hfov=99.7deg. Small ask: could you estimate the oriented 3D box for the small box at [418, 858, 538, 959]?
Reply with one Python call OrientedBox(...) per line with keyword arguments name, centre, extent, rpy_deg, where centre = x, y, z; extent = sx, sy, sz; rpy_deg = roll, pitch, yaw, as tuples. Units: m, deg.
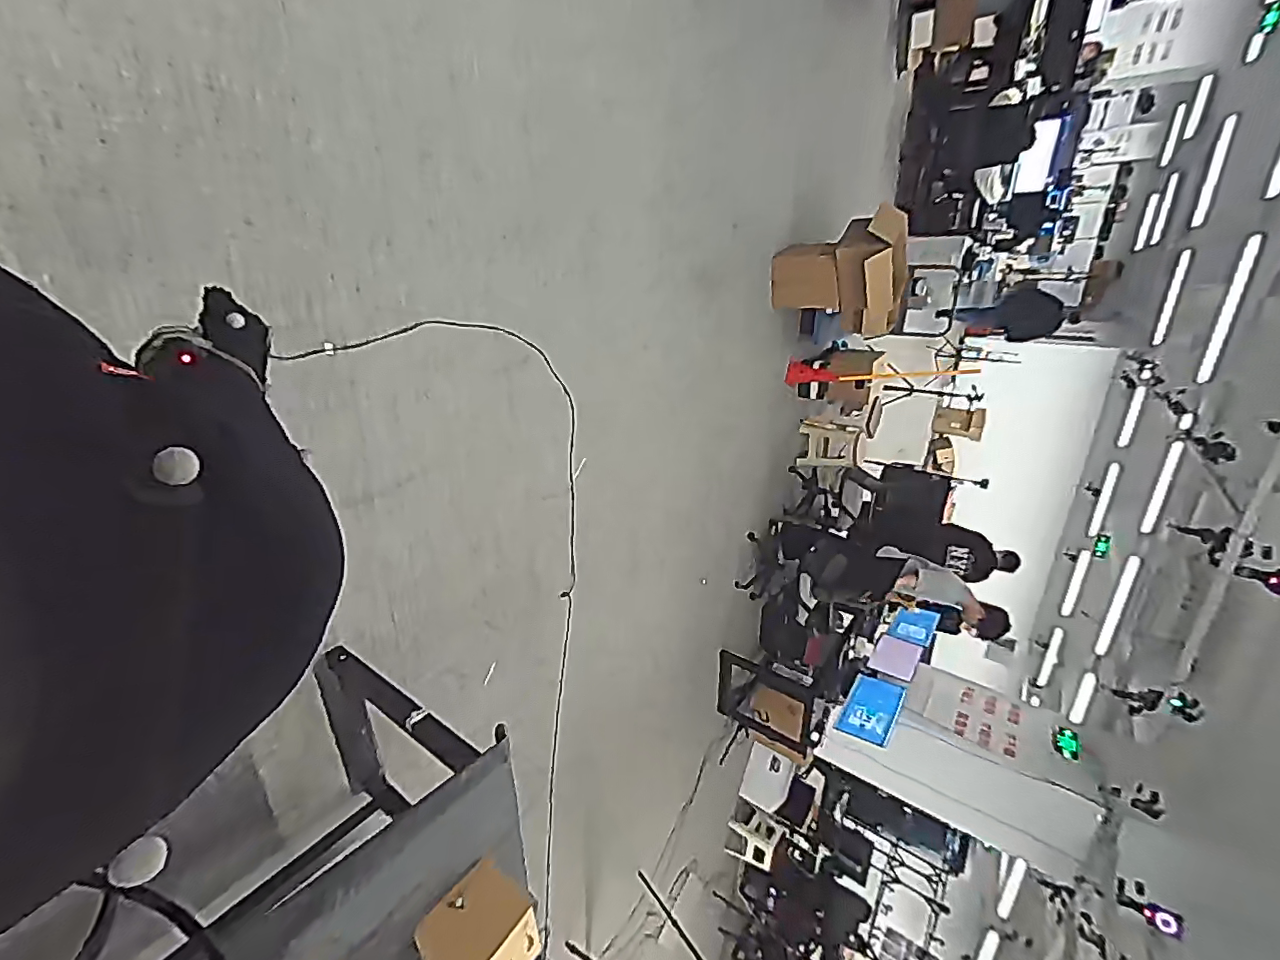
OrientedBox(name="small box", centre=(-0.343, 0.960, 1.135), extent=(0.179, 0.176, 0.168), rpy_deg=(-31, 127, -46))
